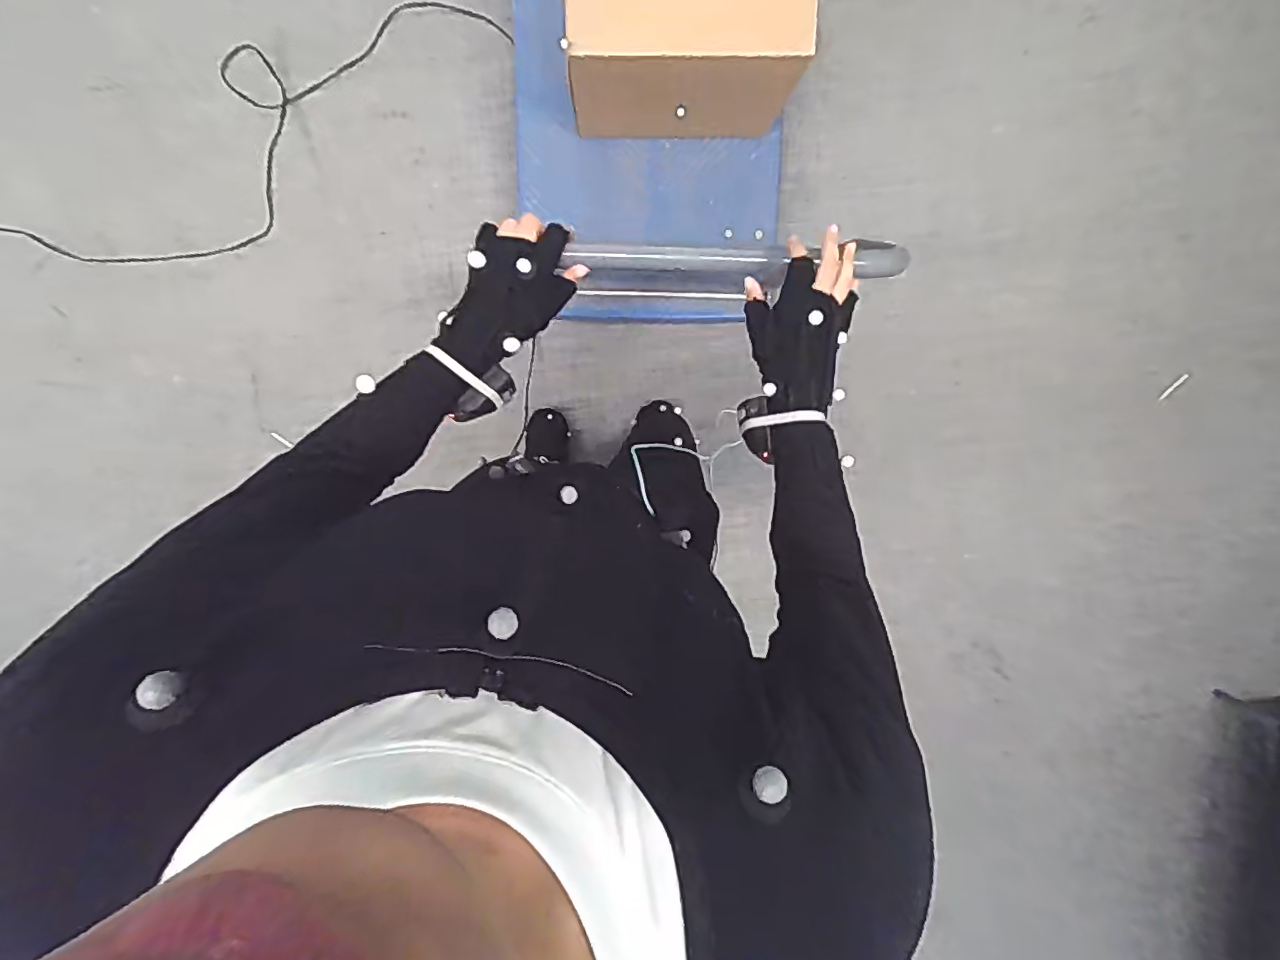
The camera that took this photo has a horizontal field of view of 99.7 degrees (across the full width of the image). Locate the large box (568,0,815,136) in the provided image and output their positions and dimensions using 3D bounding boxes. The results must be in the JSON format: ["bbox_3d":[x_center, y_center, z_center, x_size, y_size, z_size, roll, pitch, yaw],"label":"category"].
[{"bbox_3d":[0.078,-0.866,0.996,0.408,0.320,0.320,-2,100,-2],"label":"large box"}]
